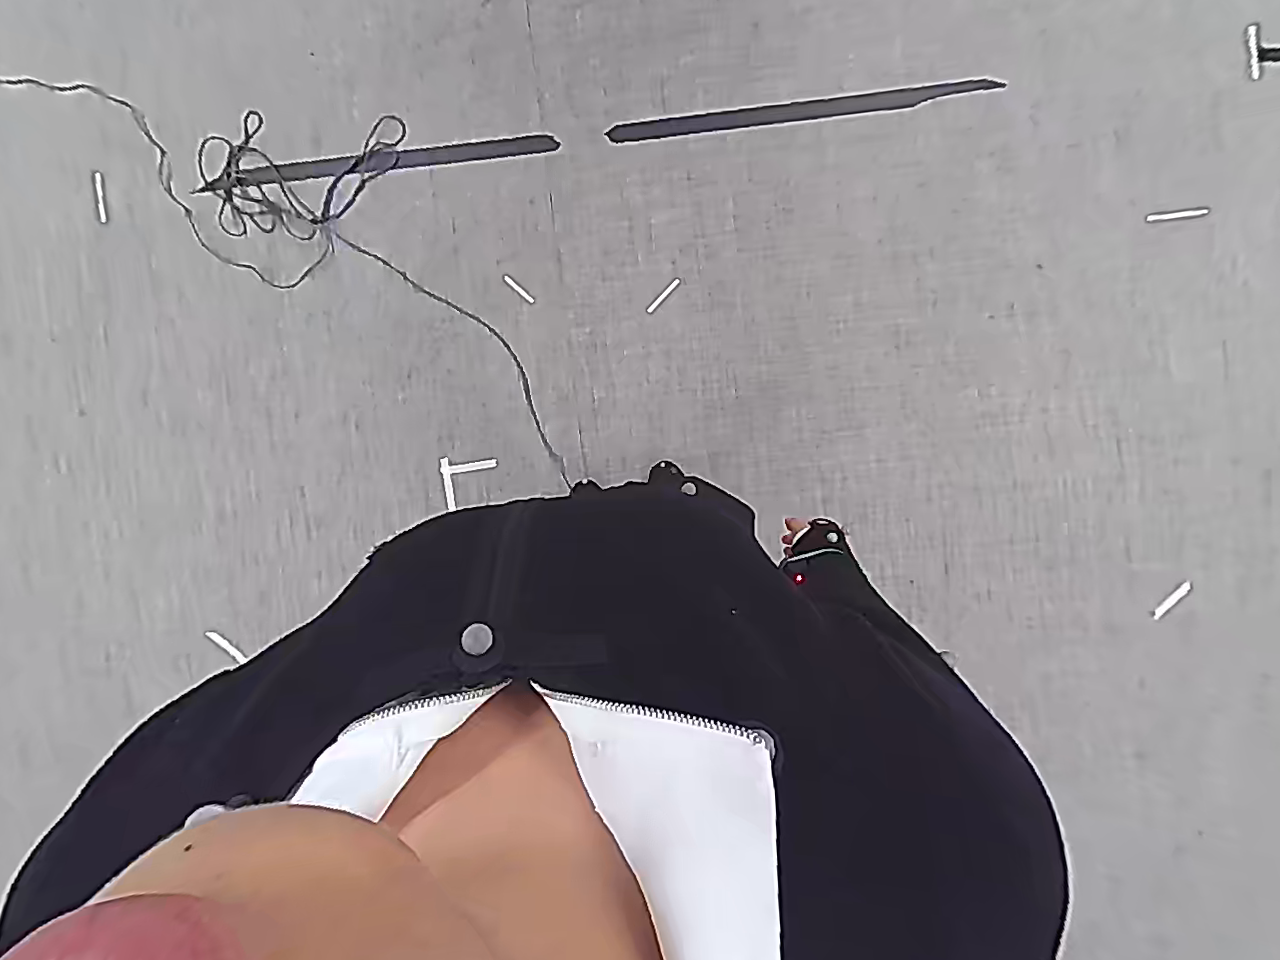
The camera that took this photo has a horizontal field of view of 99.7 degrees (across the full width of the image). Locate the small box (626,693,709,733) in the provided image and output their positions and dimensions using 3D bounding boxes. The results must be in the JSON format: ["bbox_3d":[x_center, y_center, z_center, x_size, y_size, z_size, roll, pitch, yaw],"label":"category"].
[{"bbox_3d":[0.067,0.580,1.242,0.179,0.176,0.168,-10,91,2],"label":"small box"}]

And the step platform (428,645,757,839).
[{"bbox_3d":[-0.097,0.568,1.211,0.684,0.204,0.286,-8,92,3],"label":"step platform"}]
